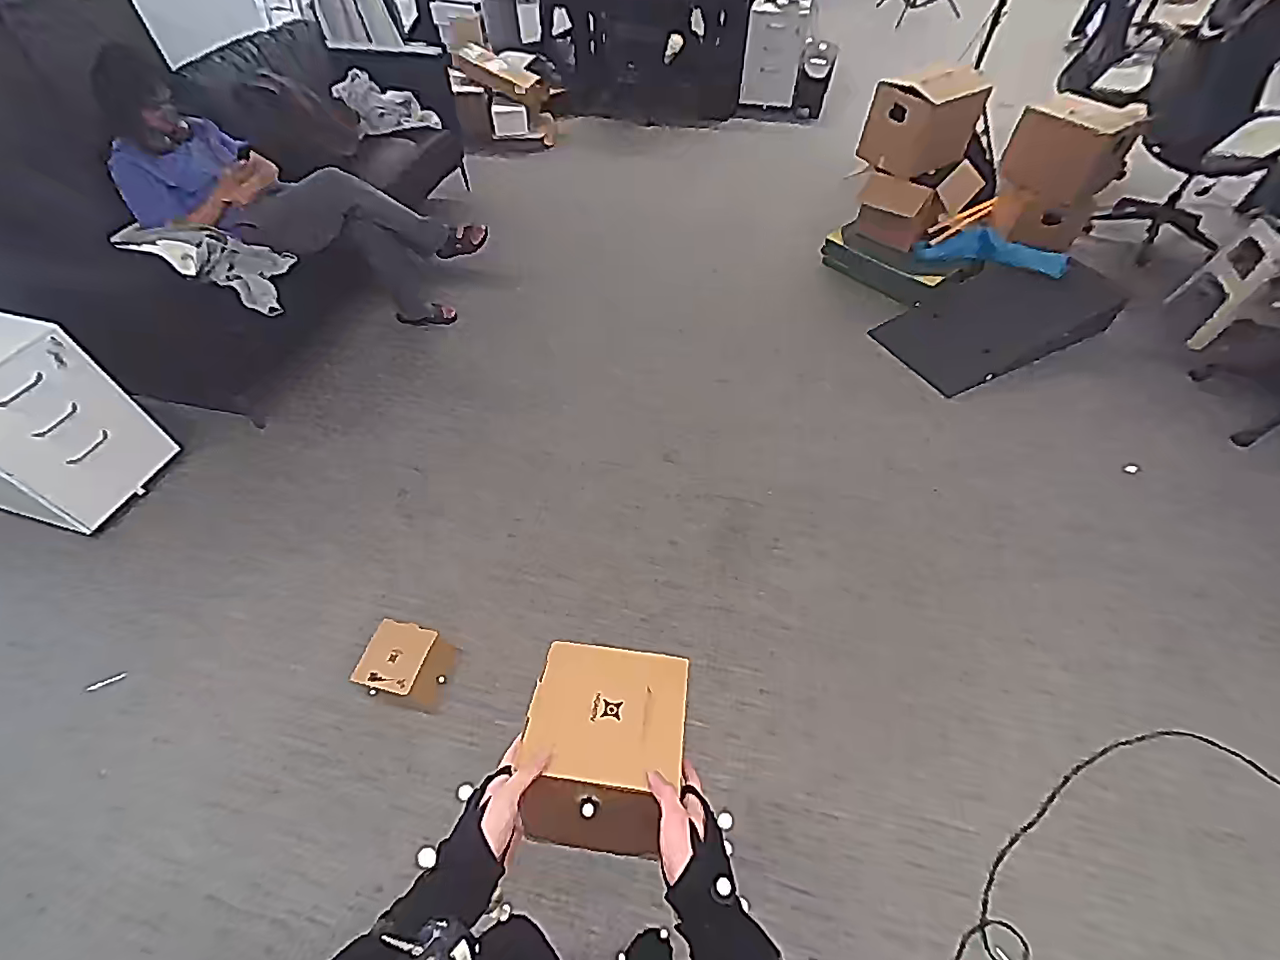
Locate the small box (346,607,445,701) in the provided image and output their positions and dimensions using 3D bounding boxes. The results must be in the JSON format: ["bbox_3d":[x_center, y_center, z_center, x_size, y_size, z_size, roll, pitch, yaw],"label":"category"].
[{"bbox_3d":[-0.657,0.481,1.484,0.168,0.176,0.179,12,53,9],"label":"small box"}]

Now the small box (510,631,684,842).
[{"bbox_3d":[-0.045,0.315,0.665,0.179,0.176,0.168,8,37,3],"label":"small box"}]
